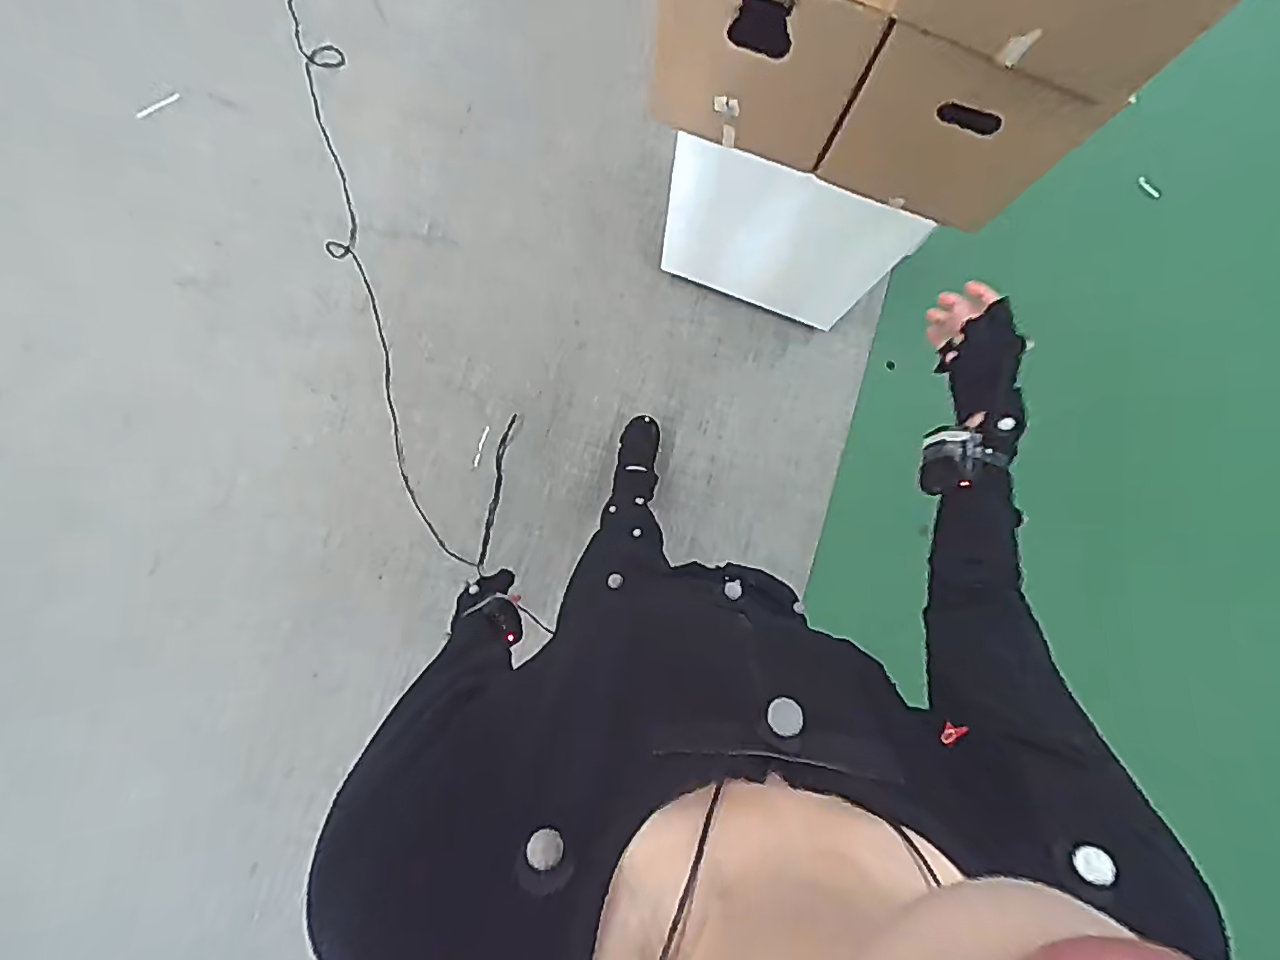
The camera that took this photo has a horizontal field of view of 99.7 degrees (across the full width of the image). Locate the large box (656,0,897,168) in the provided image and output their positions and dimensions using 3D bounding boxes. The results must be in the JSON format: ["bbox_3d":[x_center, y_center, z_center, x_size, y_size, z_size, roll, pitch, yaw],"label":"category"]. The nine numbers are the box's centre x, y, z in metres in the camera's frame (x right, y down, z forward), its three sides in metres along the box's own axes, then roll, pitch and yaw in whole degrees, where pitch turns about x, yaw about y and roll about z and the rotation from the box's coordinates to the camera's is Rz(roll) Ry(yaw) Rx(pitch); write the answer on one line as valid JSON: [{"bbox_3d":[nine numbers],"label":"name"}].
[{"bbox_3d":[0.231,-0.800,0.843,0.320,0.320,0.408,20,84,1],"label":"large box"}]
